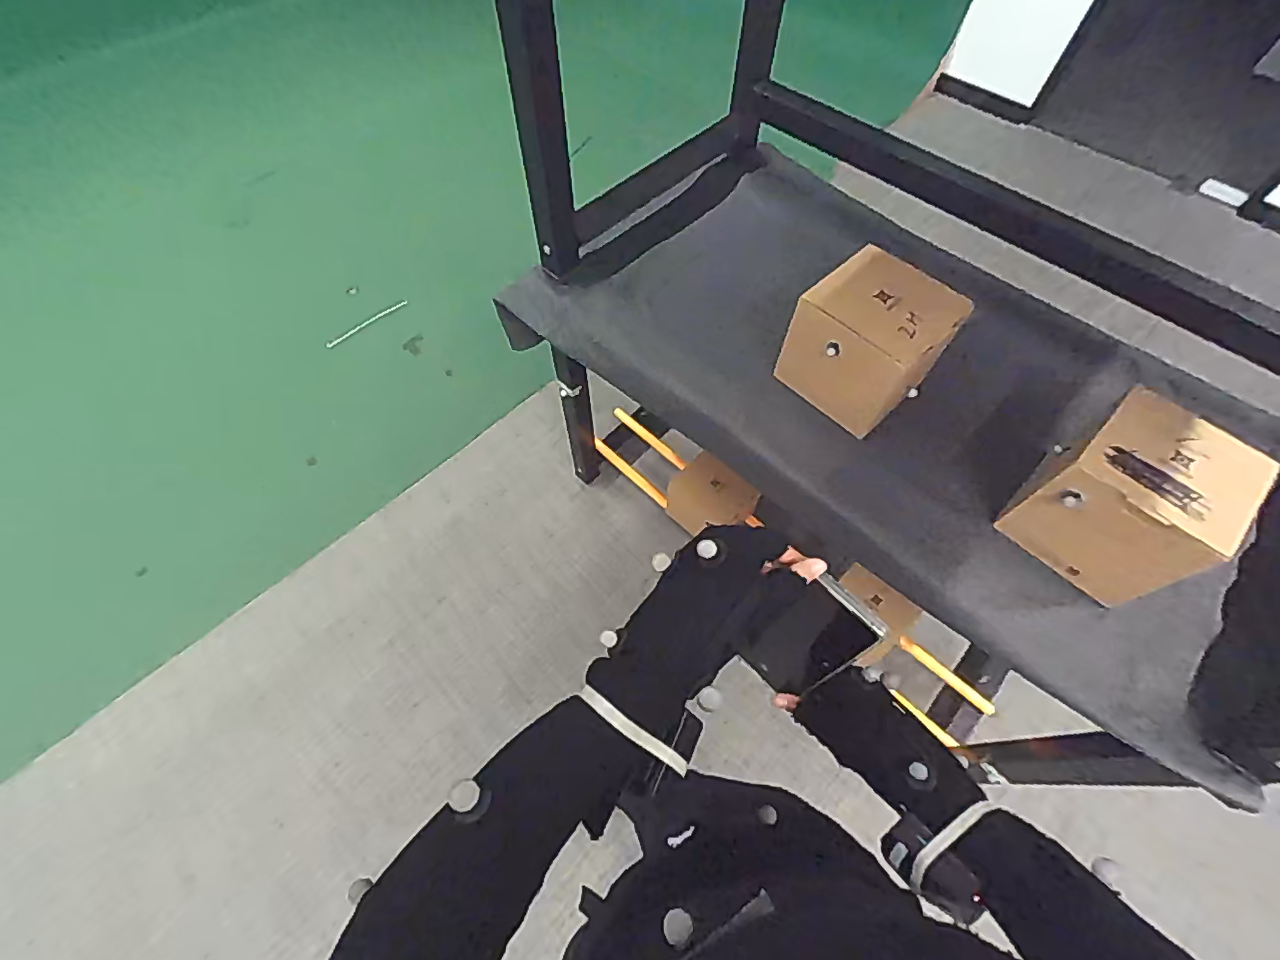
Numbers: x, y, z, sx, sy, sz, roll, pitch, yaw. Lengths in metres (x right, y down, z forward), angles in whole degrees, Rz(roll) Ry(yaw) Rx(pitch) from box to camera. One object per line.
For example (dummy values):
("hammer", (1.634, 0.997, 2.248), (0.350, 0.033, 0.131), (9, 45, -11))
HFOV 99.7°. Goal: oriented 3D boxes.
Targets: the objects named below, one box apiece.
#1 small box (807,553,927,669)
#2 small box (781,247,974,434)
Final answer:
("small box", (0.506, 0.305, 1.238), (0.179, 0.176, 0.168), (-39, 68, -20))
("small box", (0.338, -0.203, 0.806), (0.168, 0.176, 0.179), (-39, 68, -20))
